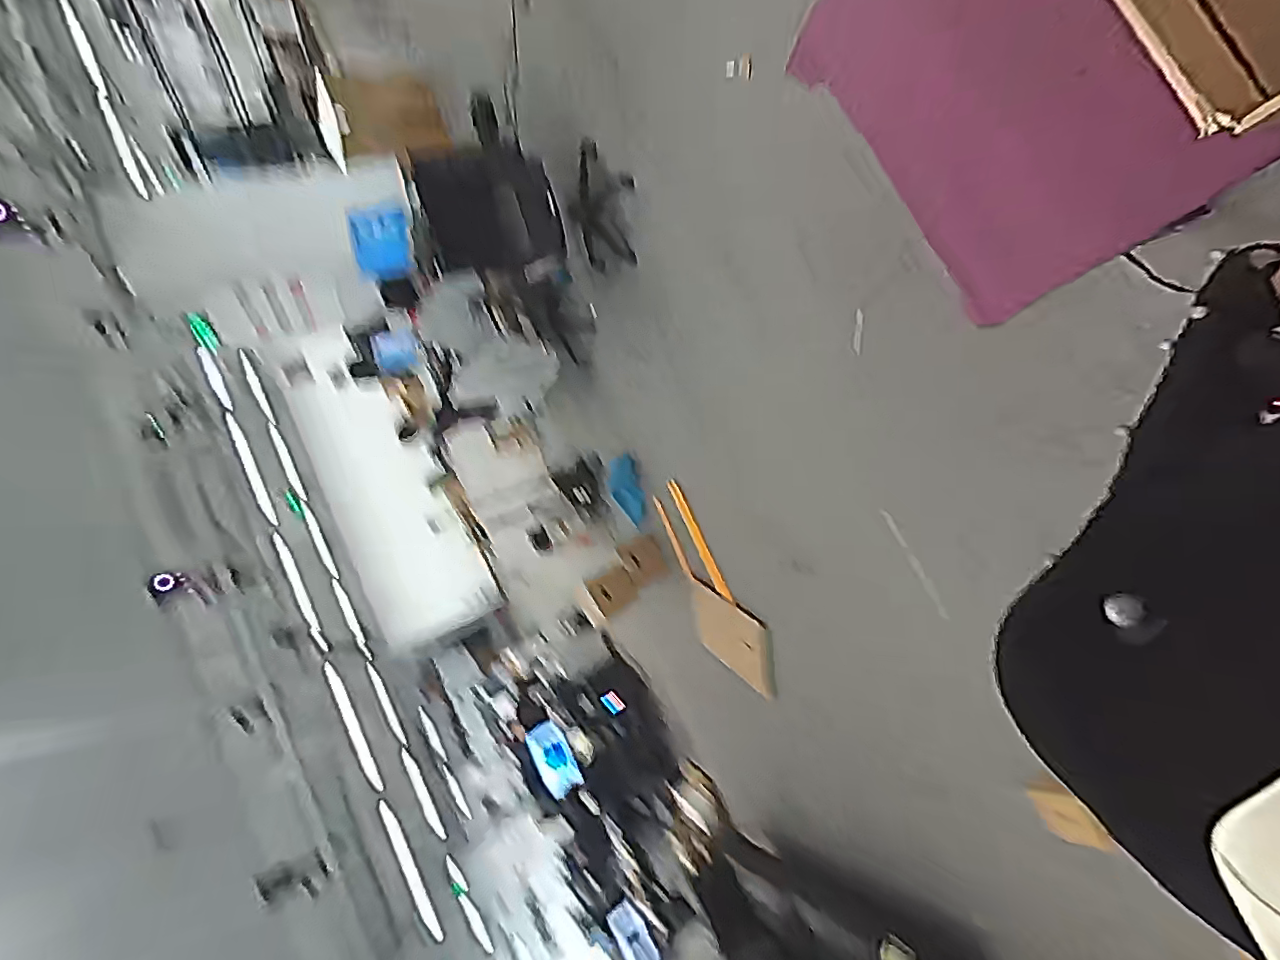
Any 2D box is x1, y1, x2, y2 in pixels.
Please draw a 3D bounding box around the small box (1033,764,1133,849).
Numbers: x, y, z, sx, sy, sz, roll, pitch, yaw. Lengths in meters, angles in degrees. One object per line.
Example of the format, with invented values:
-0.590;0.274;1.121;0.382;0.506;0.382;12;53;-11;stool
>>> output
1.448;1.053;1.761;0.168;0.176;0.179;62;154;12;small box
